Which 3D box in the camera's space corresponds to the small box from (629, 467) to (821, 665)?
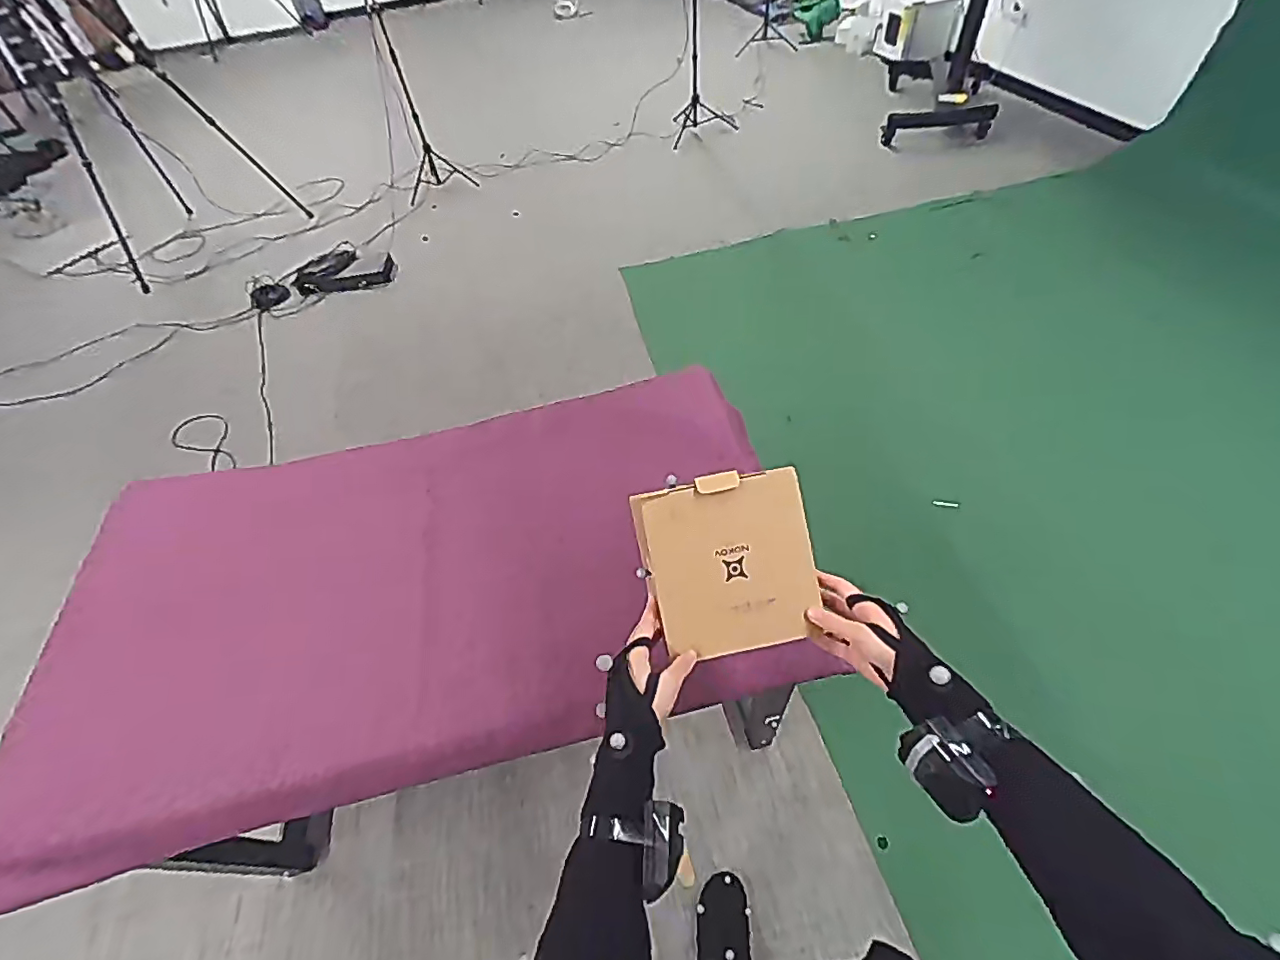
[{"bbox_3d":[0.083,0.090,0.620,0.168,0.176,0.179,-10,88,-4],"label":"small box"}]
